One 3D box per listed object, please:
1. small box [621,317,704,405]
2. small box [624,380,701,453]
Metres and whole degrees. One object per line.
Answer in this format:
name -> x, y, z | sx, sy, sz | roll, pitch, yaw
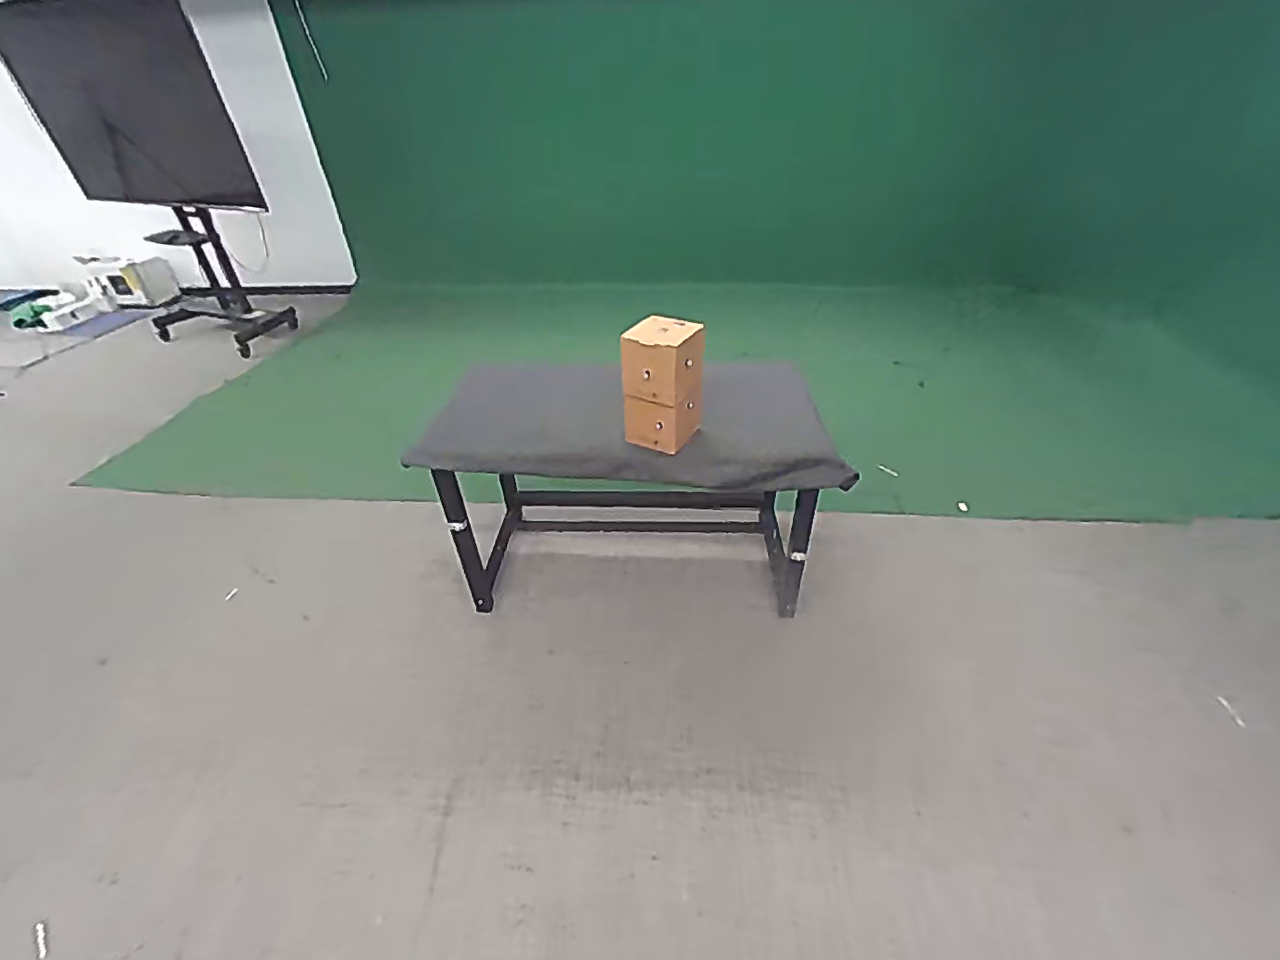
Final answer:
small box -> 0.065, -0.326, 1.478 | 0.168, 0.176, 0.179 | 19, 42, 24
small box -> 0.069, -0.201, 1.586 | 0.168, 0.176, 0.179 | 18, 40, 23
